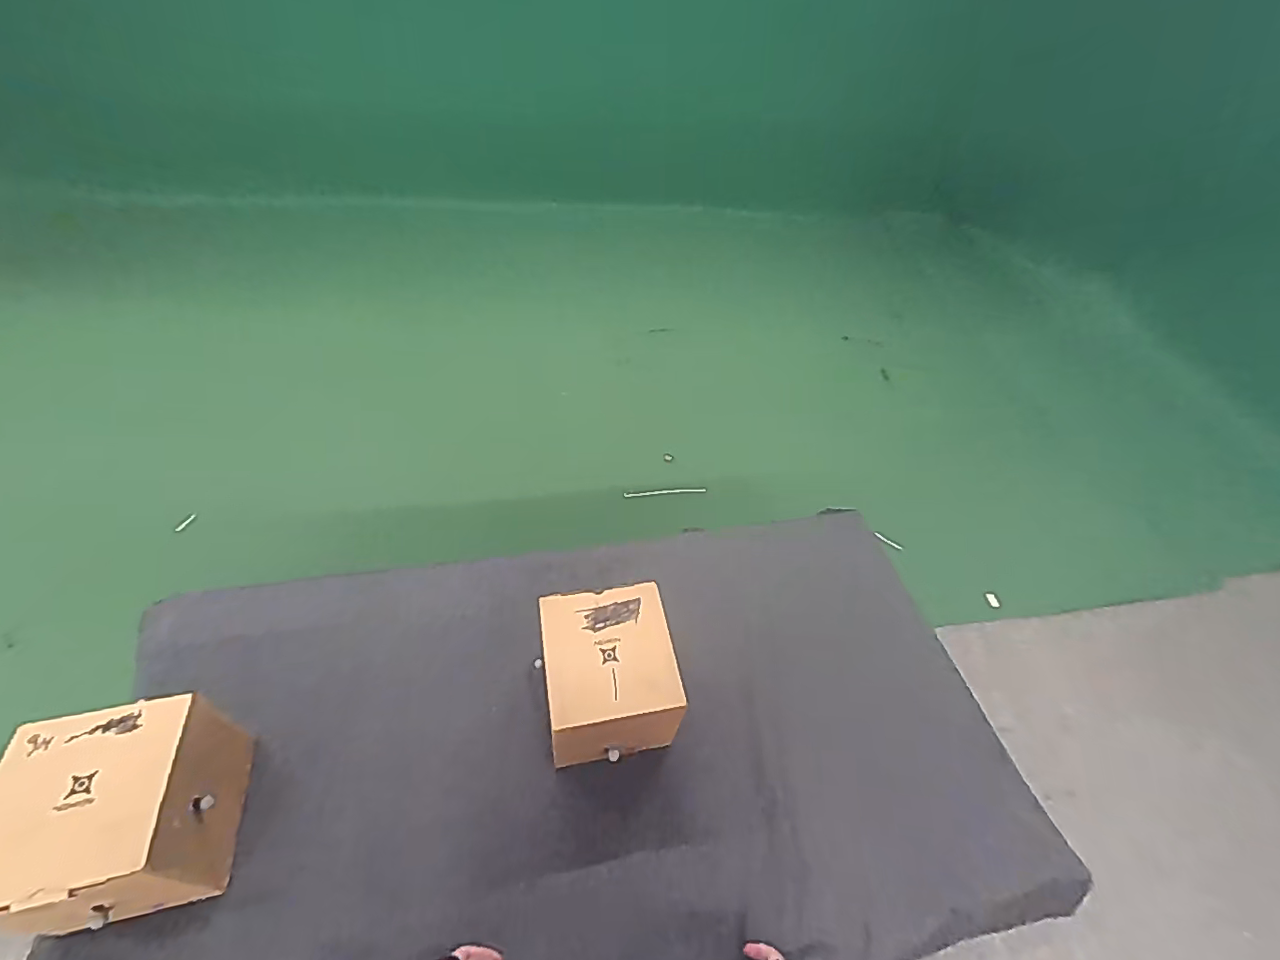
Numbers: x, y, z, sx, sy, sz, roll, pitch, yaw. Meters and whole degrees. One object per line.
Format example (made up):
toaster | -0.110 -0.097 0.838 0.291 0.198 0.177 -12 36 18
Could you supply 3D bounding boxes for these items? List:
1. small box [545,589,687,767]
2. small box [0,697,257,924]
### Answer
small box | -0.046 0.277 0.761 0.168 0.176 0.179 -5 51 -12
small box | -0.568 0.372 0.608 0.168 0.176 0.179 -7 51 -13
